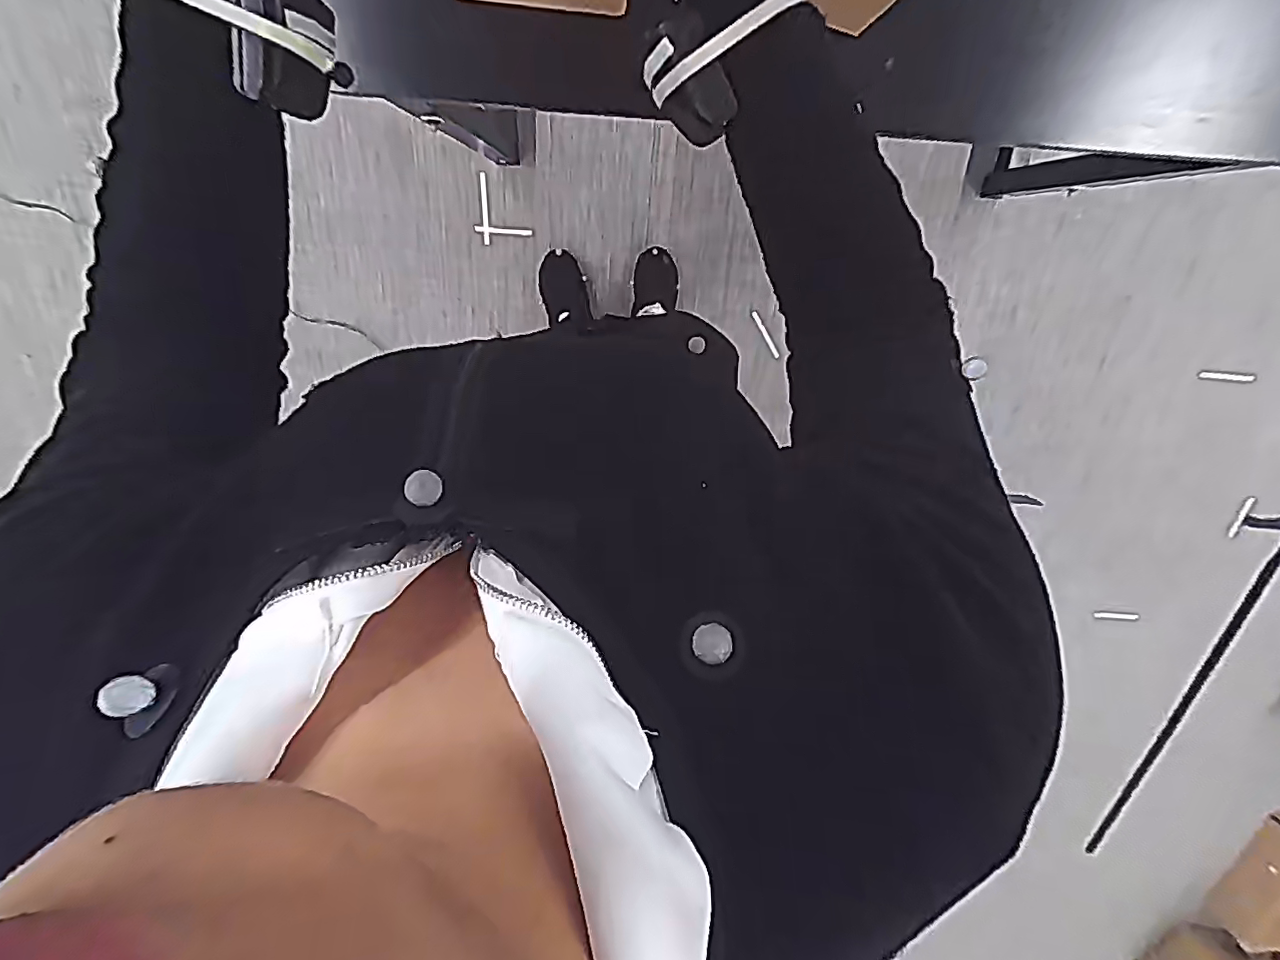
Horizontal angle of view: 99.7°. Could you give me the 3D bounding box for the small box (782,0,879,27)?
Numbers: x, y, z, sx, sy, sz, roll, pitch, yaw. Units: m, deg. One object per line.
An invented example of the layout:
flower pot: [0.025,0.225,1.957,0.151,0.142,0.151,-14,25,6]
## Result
small box: [0.170,-0.531,0.454,0.168,0.176,0.179,13,112,-7]

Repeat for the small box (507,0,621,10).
small box: [-0.093,-0.530,0.450,0.179,0.176,0.168,4,113,-2]
